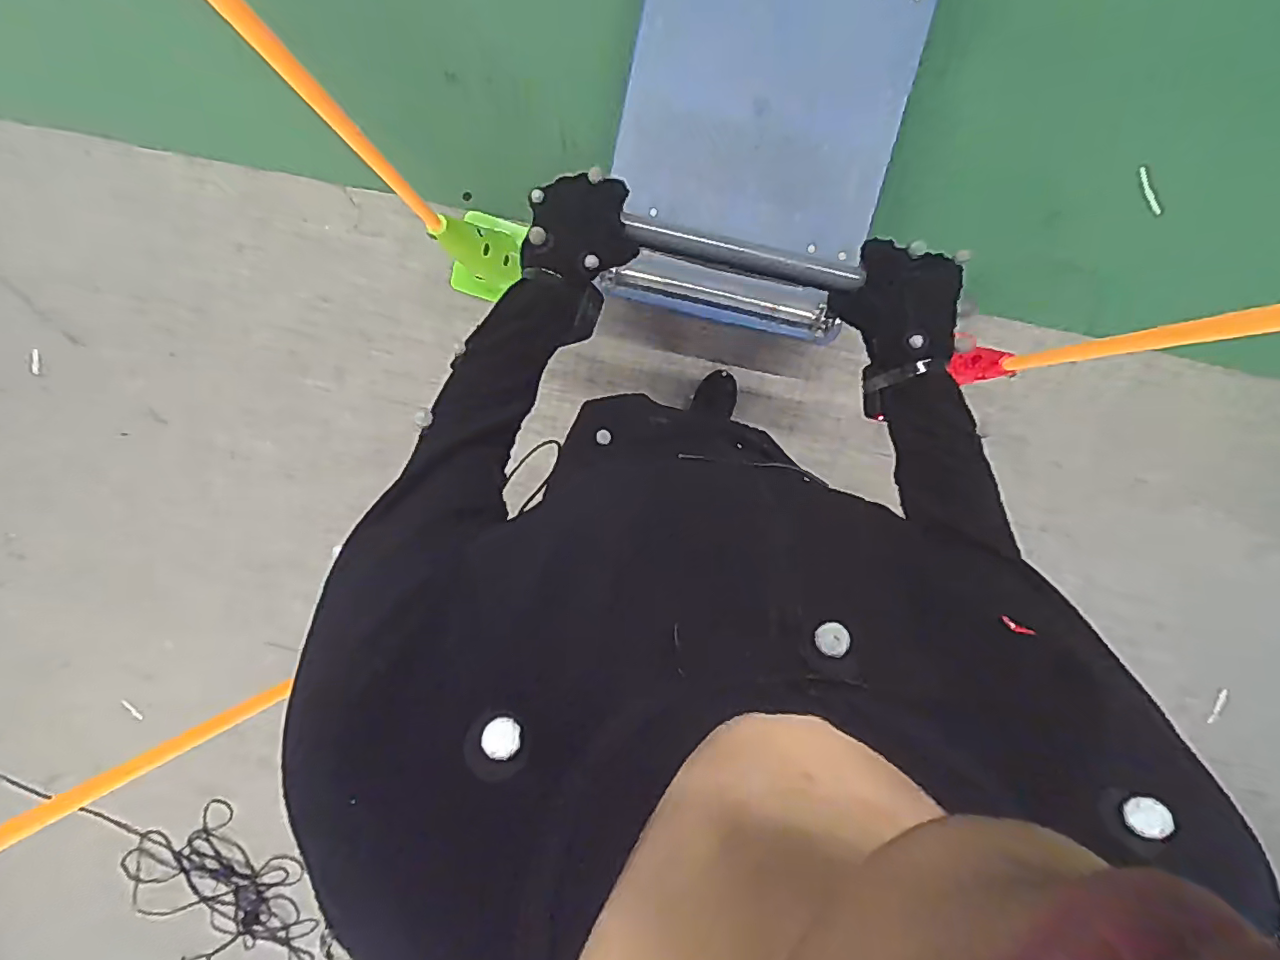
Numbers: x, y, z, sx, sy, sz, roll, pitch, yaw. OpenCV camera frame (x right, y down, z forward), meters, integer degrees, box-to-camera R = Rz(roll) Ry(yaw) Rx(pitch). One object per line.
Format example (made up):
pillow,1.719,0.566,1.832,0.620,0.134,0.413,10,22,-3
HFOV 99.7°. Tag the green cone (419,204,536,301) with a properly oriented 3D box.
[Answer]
green cone,-0.391,-0.548,1.219,0.202,0.368,0.200,17,101,1
